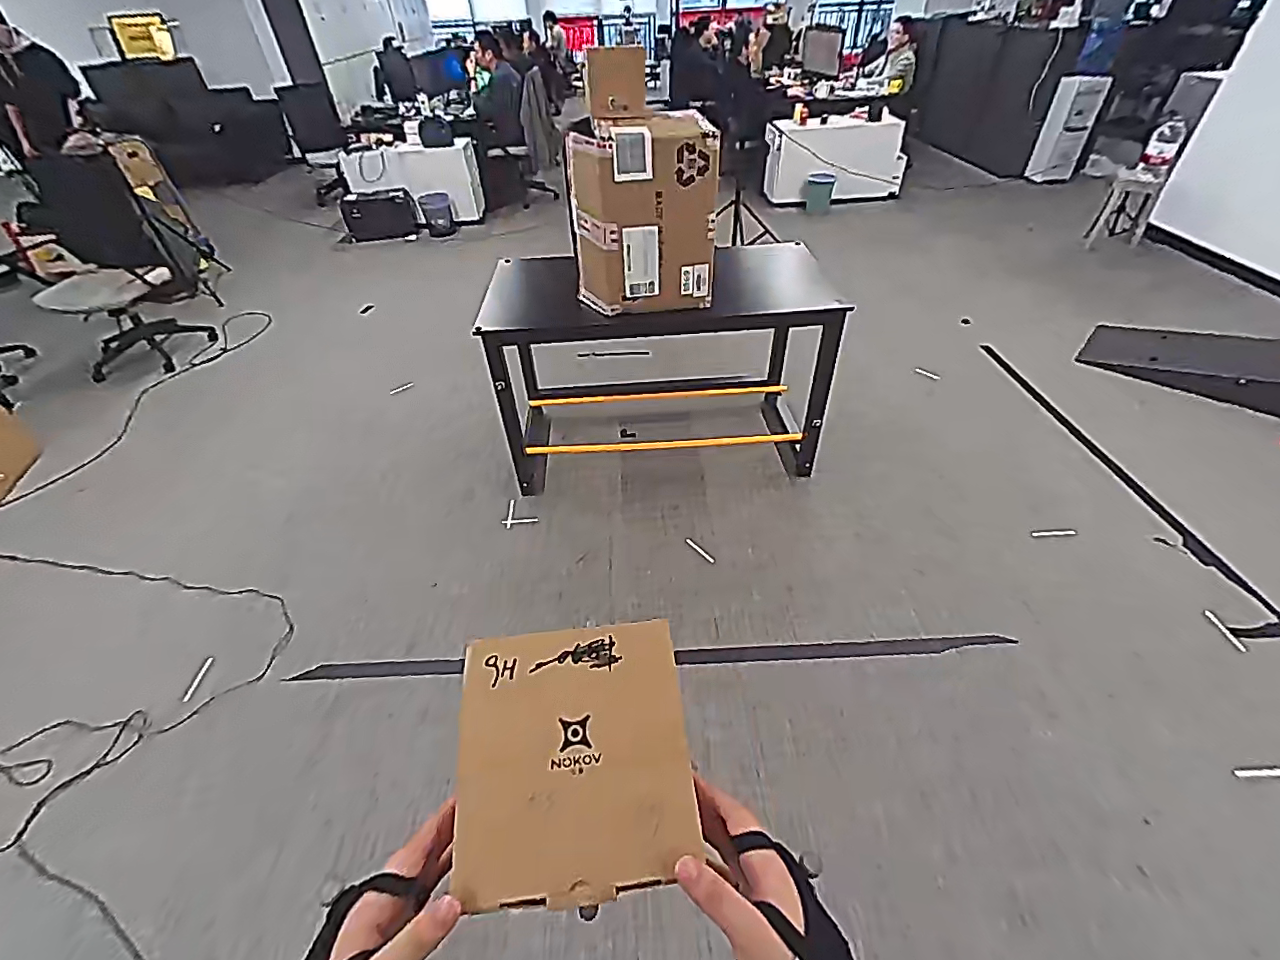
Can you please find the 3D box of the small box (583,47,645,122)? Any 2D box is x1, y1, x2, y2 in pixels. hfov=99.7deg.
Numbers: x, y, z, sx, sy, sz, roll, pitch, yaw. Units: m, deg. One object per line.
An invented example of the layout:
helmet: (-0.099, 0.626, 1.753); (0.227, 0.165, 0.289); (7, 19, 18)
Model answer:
small box: (-0.077, -1.167, 1.594); (0.168, 0.176, 0.179); (-7, 40, -5)
